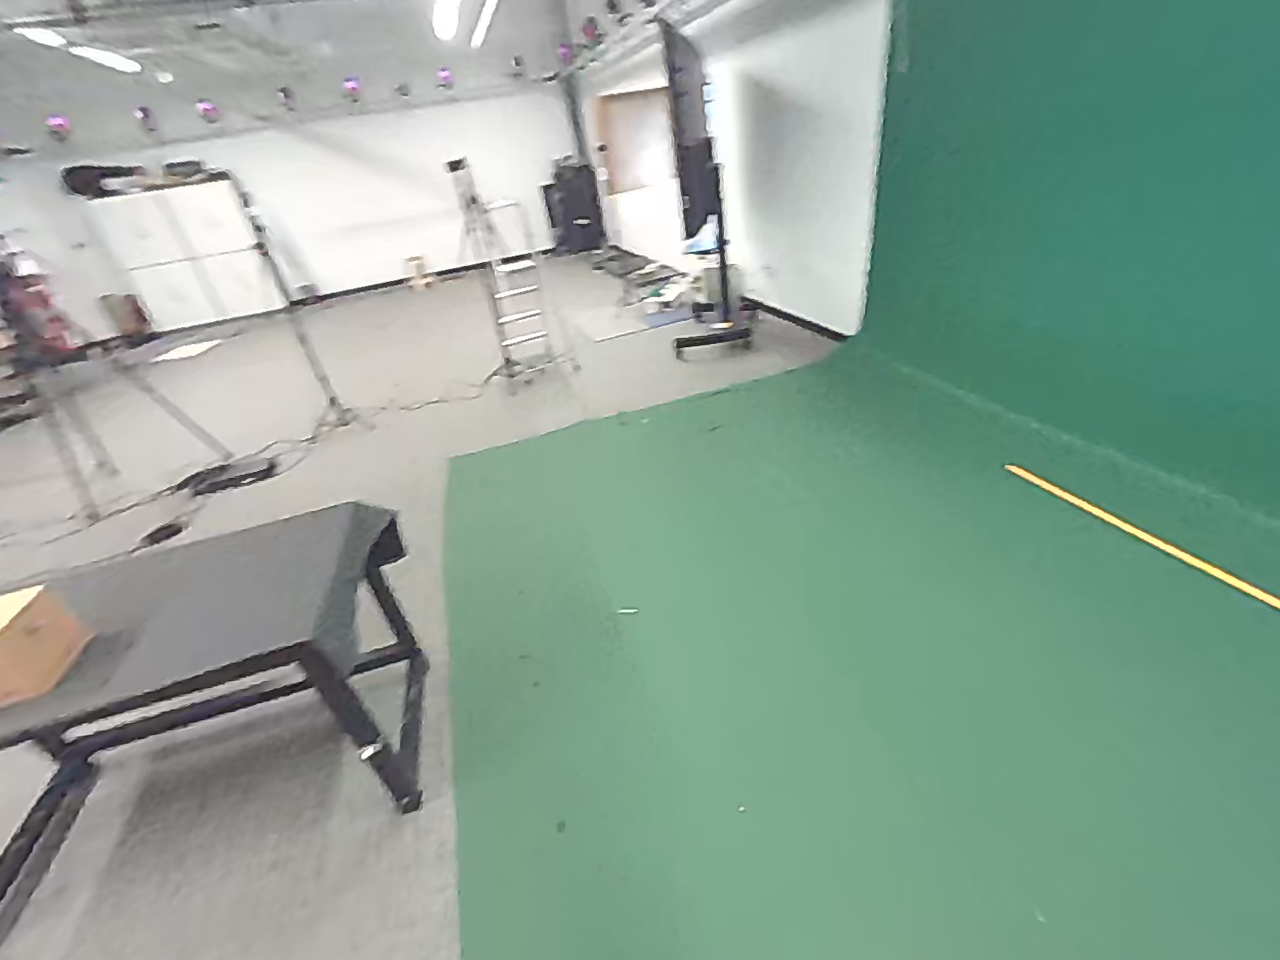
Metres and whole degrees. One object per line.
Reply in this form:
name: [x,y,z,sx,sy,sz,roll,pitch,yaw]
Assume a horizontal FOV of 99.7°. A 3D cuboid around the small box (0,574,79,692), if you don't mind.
small box: [-1.373,0.334,1.153,0.168,0.176,0.179,-13,32,-10]
